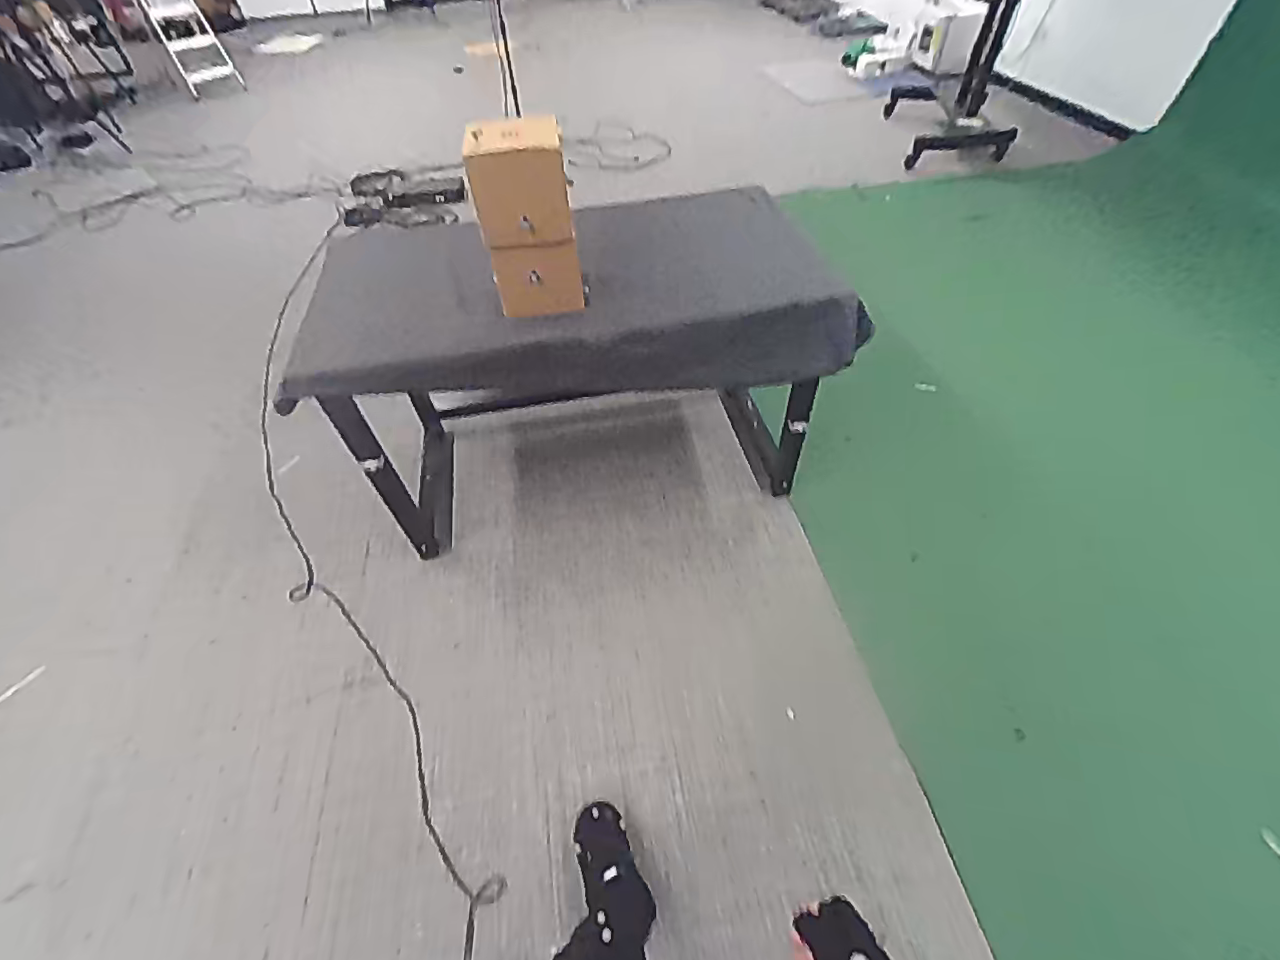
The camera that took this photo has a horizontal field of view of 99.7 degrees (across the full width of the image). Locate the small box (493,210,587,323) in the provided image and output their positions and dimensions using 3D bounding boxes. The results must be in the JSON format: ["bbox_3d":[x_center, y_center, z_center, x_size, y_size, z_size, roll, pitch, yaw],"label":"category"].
[{"bbox_3d":[-0.213,-0.466,1.186,0.179,0.176,0.168,-9,49,-3],"label":"small box"}]

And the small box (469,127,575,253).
[{"bbox_3d":[-0.222,-0.565,1.057,0.179,0.176,0.168,-7,49,-4],"label":"small box"}]
